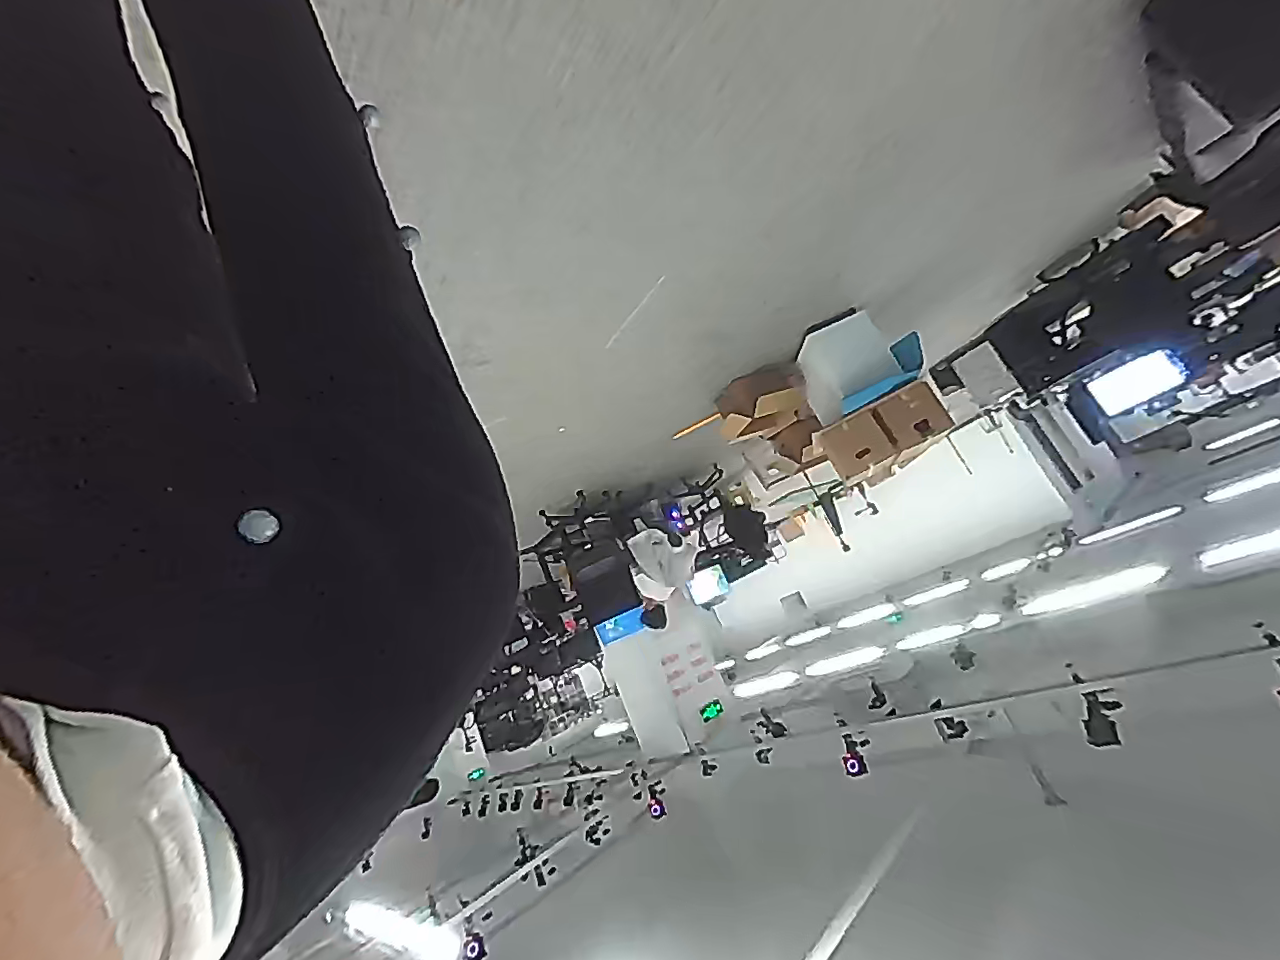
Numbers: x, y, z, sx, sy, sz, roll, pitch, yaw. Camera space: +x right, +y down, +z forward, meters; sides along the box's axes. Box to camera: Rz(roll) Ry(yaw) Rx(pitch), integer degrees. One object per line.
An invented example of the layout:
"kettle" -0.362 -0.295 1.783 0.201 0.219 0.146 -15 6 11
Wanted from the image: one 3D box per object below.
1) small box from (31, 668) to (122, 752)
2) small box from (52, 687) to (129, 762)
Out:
"small box" -1.650 0.671 1.590 0.168 0.176 0.179 -11 161 -45
"small box" -1.823 0.805 1.792 0.168 0.176 0.179 -11 159 -42
